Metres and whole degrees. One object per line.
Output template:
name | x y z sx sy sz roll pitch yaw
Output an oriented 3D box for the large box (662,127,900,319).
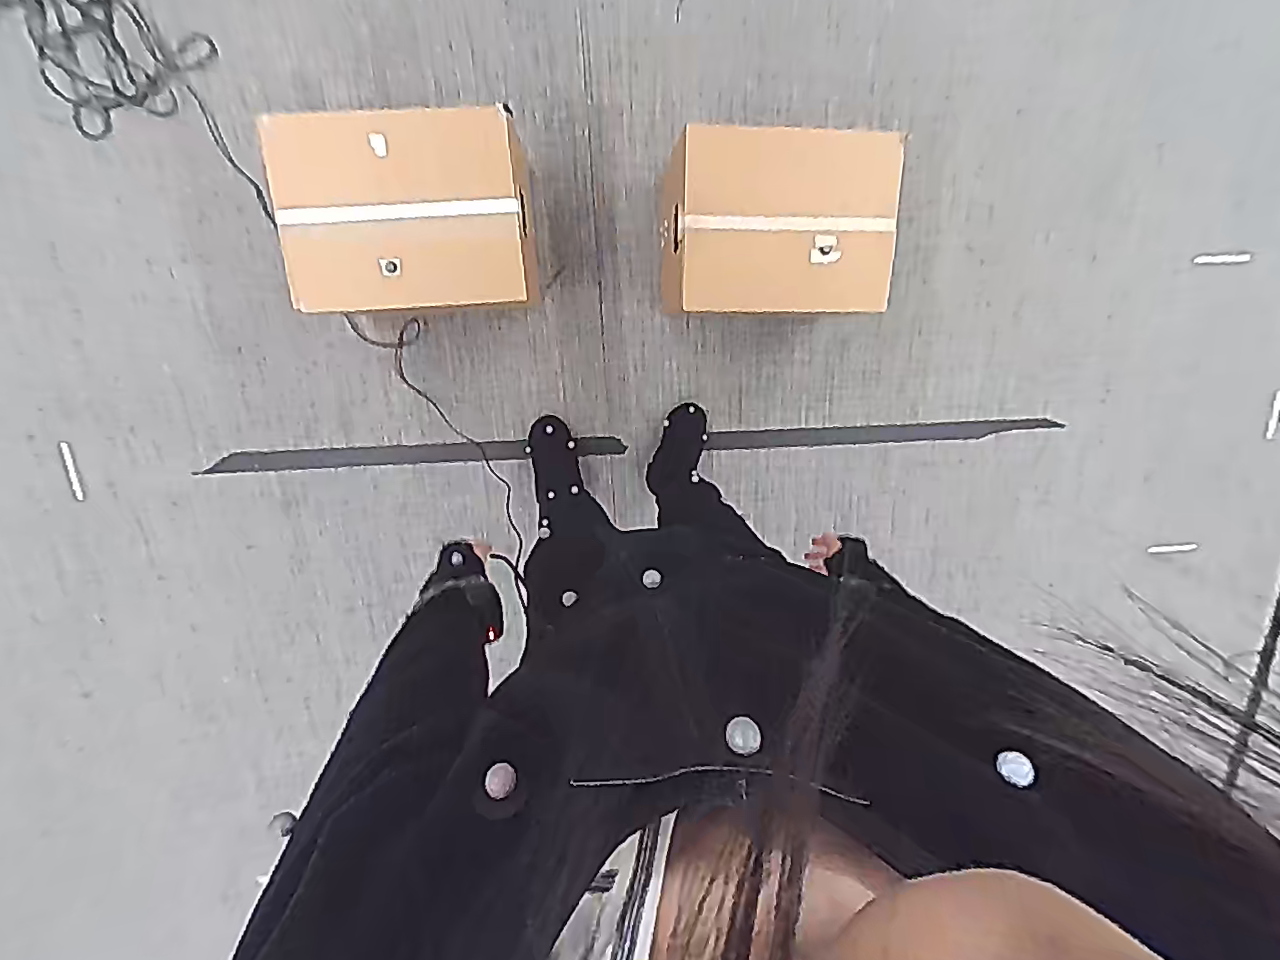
large box | 0.264 -0.513 1.149 0.408 0.320 0.320 -1 105 -6
